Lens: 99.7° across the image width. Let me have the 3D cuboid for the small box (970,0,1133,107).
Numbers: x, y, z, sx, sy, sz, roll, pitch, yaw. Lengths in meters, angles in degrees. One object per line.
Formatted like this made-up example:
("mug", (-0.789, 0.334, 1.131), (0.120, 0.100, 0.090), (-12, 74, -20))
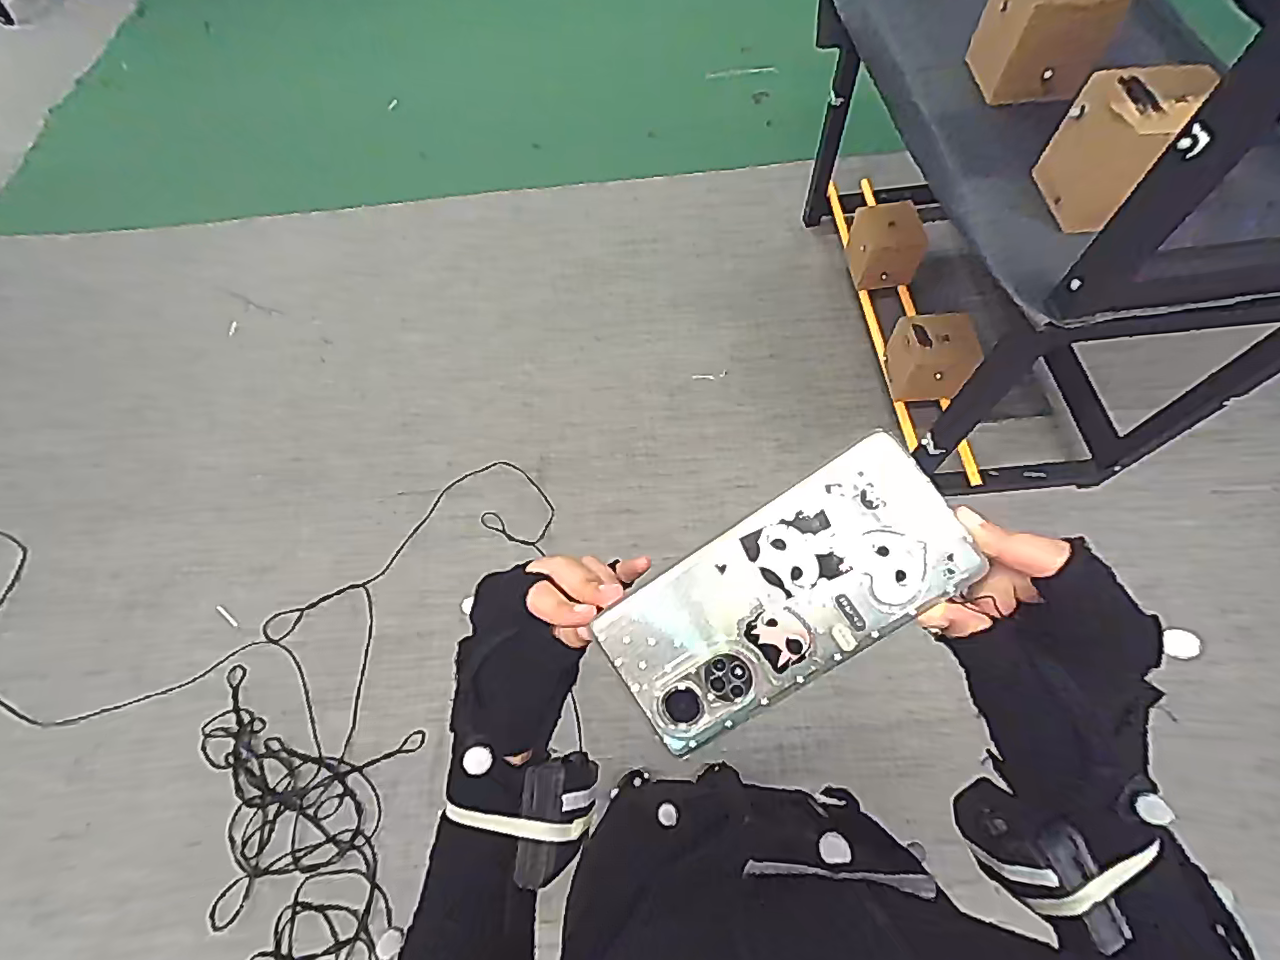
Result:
("small box", (0.774, -0.858, 1.043), (0.168, 0.176, 0.179), (-2, 63, 4))

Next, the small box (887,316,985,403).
("small box", (0.791, -0.321, 1.472), (0.179, 0.176, 0.168), (-2, 64, 4))
